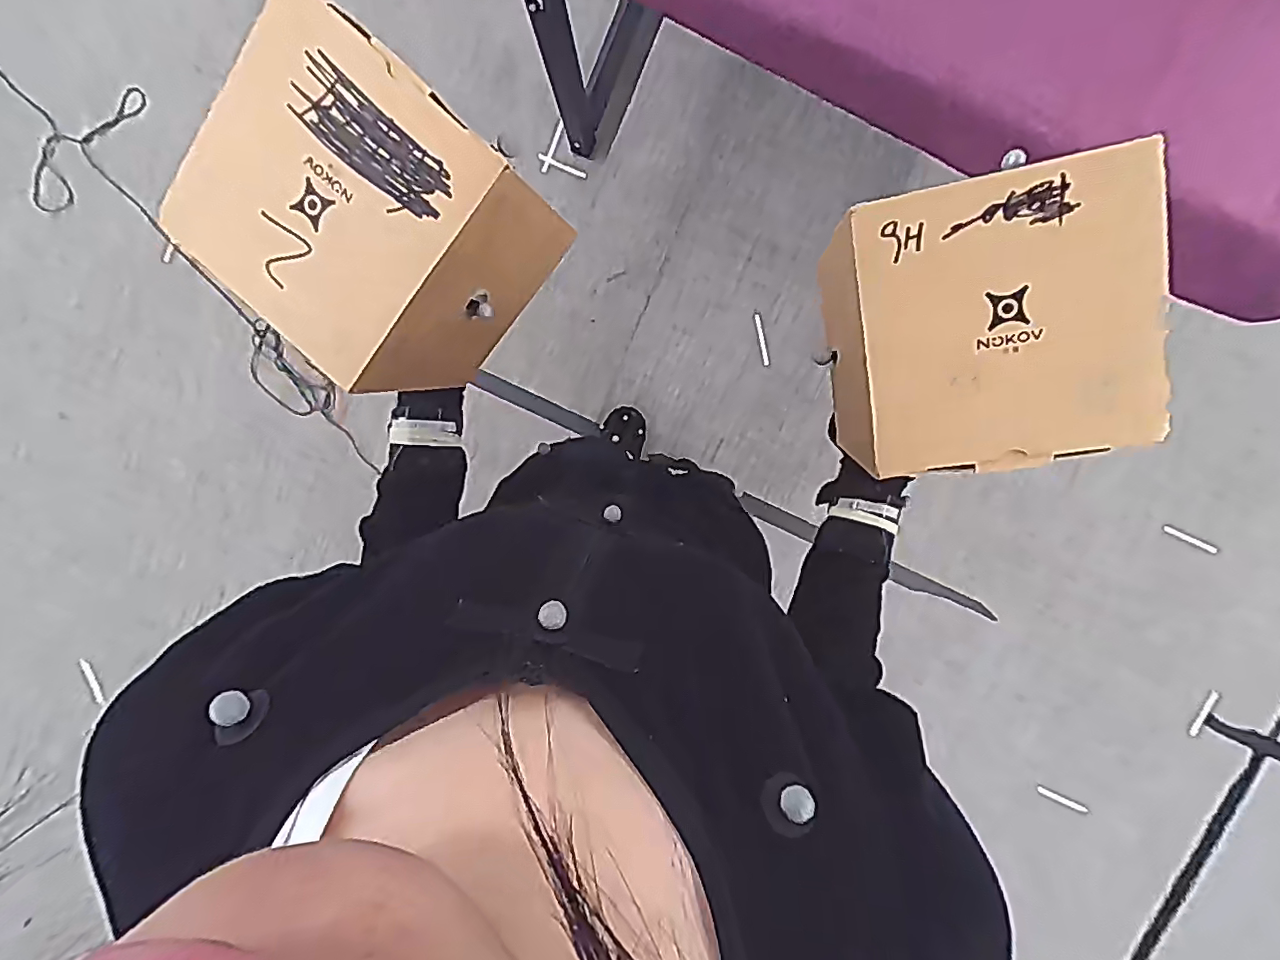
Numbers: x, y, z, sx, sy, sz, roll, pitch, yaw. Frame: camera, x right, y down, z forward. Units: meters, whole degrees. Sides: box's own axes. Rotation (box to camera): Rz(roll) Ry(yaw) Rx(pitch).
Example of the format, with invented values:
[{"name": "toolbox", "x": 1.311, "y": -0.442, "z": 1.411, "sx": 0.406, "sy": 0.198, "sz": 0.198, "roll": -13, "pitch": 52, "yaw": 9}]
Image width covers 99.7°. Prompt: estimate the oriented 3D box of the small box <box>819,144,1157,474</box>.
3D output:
[{"name": "small box", "x": 0.238, "y": -0.114, "z": 0.412, "sx": 0.168, "sy": 0.176, "sz": 0.179, "roll": -7, "pitch": 100, "yaw": 12}]
